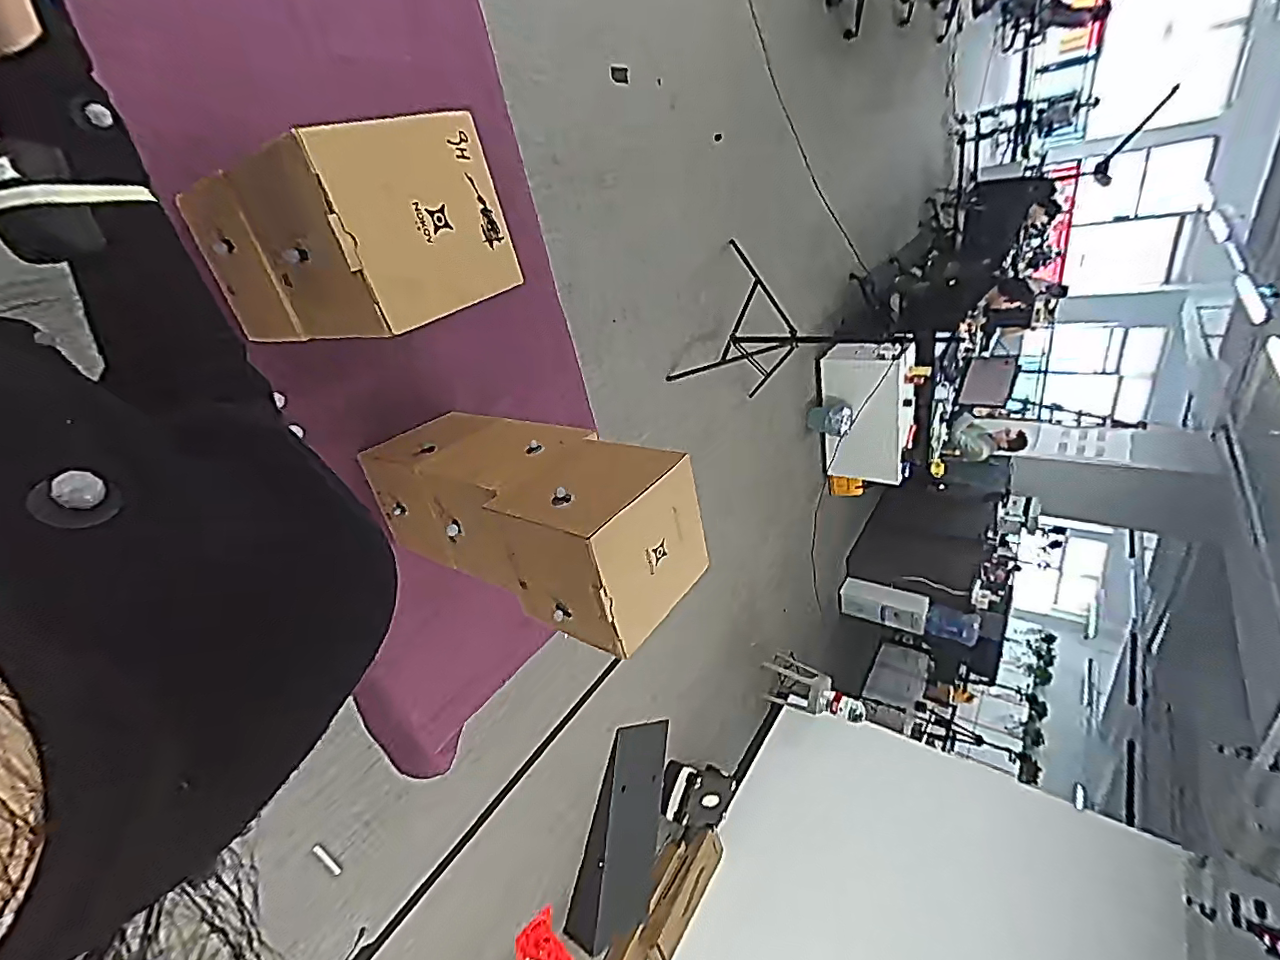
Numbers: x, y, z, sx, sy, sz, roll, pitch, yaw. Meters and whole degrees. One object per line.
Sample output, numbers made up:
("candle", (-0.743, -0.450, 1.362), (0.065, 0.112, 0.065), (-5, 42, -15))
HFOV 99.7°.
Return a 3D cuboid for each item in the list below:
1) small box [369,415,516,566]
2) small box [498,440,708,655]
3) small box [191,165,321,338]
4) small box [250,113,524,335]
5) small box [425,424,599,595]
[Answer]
("small box", (-0.292, 0.006, 0.845), (0.179, 0.176, 0.168), (-38, 127, -42))
("small box", (-0.044, 0.066, 0.641), (0.179, 0.176, 0.168), (-41, 130, -40))
("small box", (-0.392, -0.273, 0.648), (0.179, 0.176, 0.168), (-40, 128, -42))
("small box", (-0.259, -0.254, 0.555), (0.179, 0.176, 0.168), (-43, 130, -39))
("small box", (-0.159, 0.031, 0.751), (0.179, 0.176, 0.168), (-38, 126, -42))
